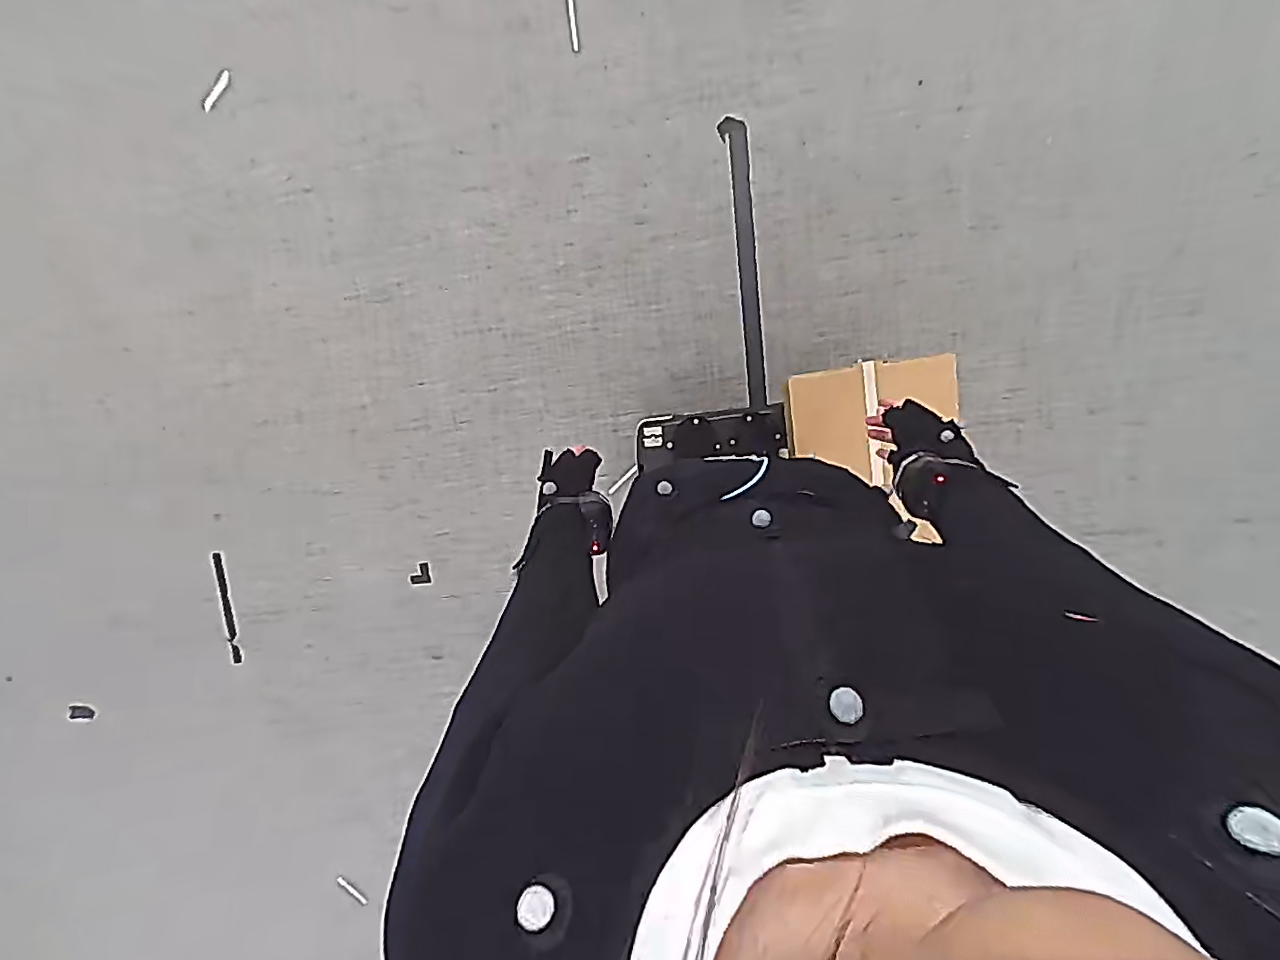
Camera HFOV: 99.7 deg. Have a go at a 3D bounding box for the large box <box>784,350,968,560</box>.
[{"bbox_3d":[0.517,-0.067,1.242,0.320,0.320,0.408,-6,100,14],"label":"large box"}]
